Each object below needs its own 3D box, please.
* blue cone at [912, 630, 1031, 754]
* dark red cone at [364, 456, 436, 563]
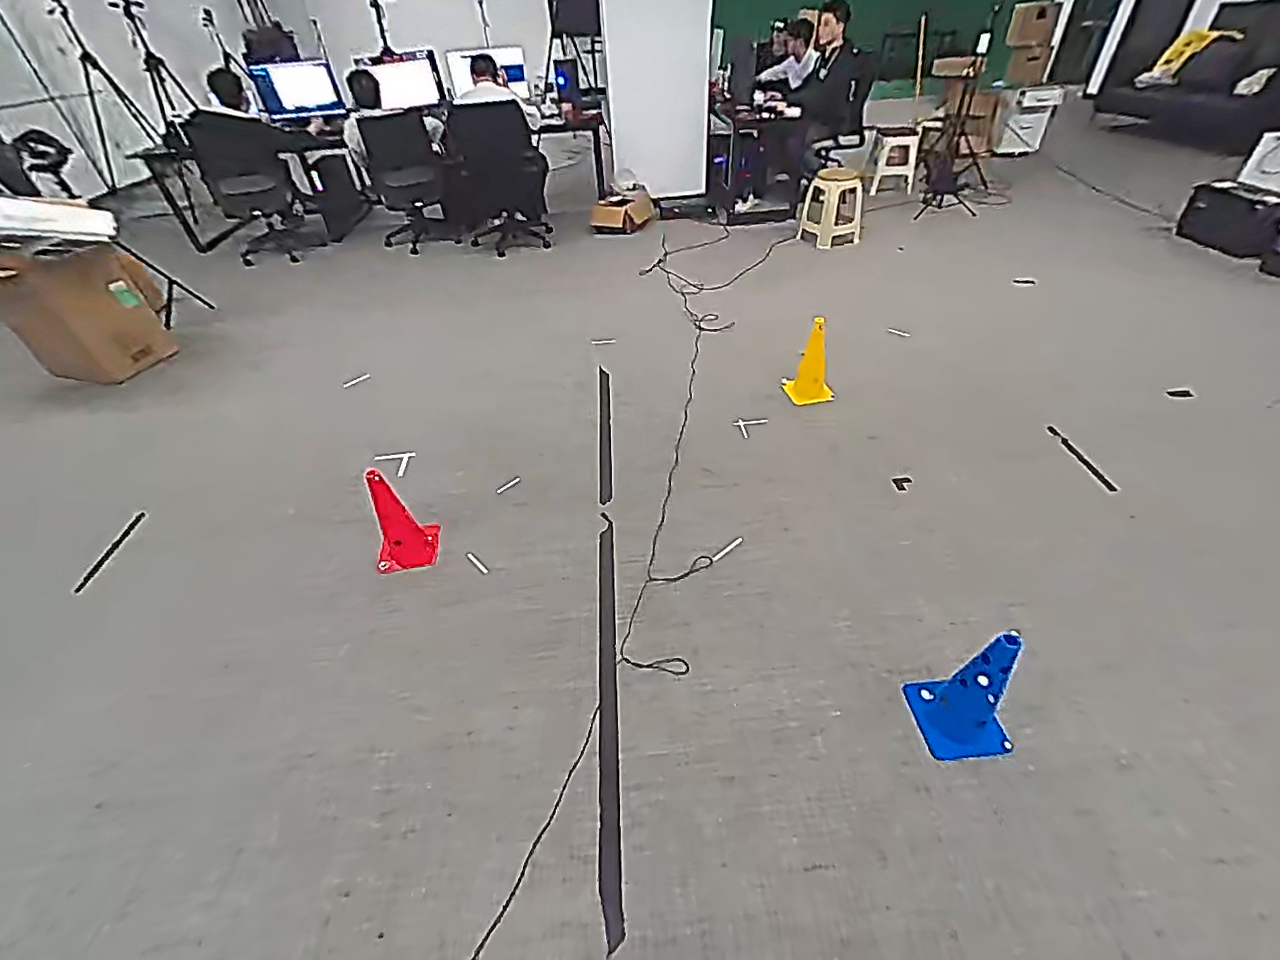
[{"bbox_3d":[0.802,0.472,1.262,0.192,0.380,0.193,-3,41,-1],"label":"blue cone"},{"bbox_3d":[-0.831,0.087,1.796,0.201,0.394,0.202,-9,41,-7],"label":"dark red cone"}]
